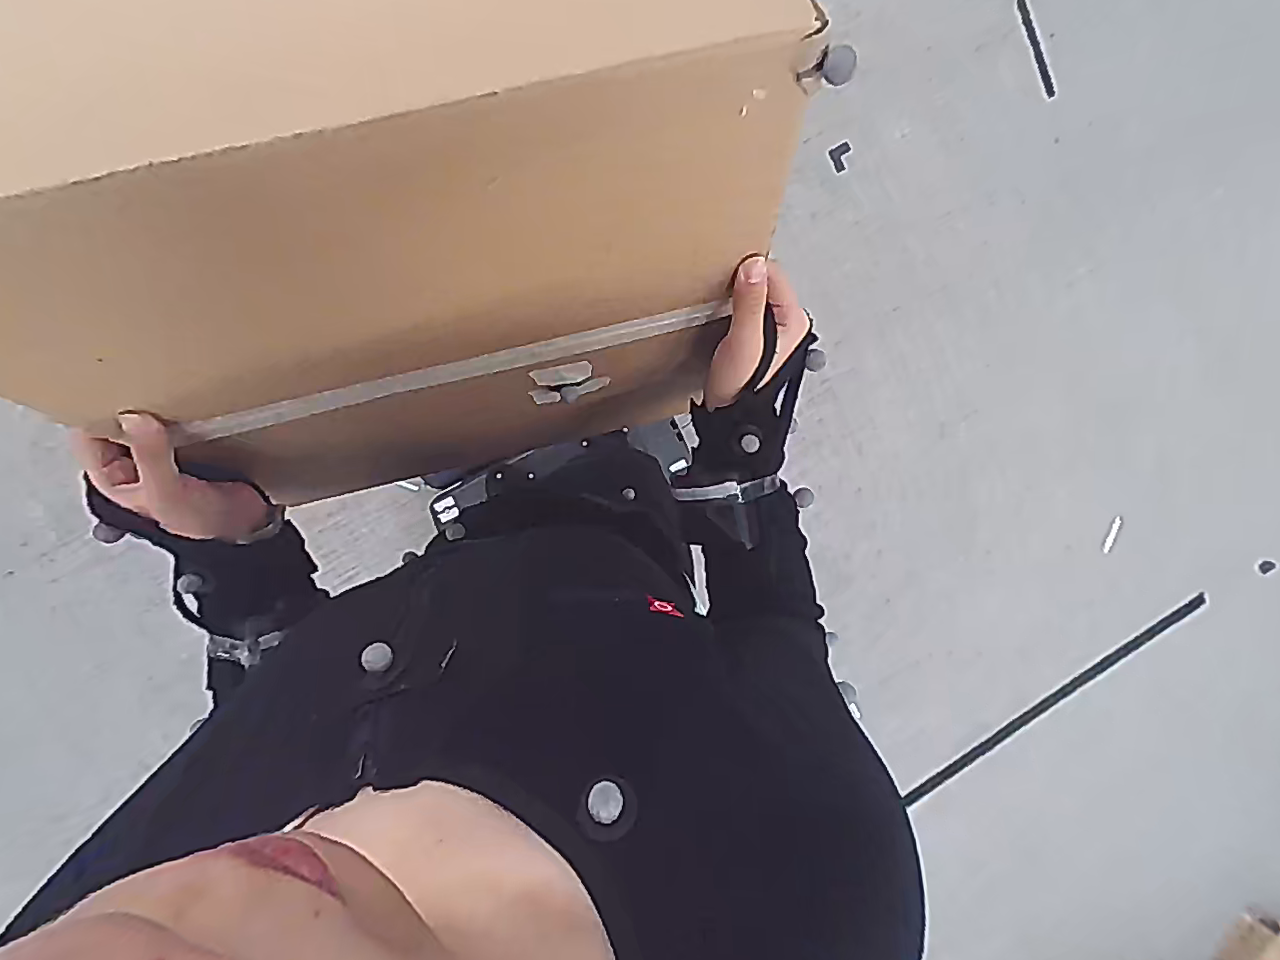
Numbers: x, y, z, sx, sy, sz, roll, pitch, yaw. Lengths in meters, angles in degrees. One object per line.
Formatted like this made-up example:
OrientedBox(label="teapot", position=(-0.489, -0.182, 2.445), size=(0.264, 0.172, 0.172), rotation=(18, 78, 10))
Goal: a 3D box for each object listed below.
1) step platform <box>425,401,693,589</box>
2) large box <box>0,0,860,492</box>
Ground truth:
OrientedBox(label="step platform", position=(-0.204, 0.027, 1.443), size=(0.684, 0.204, 0.286), rotation=(-23, 98, -5))
OrientedBox(label="large box", position=(-0.141, -0.224, 0.362), size=(0.408, 0.320, 0.320), rotation=(-14, 73, -2))
